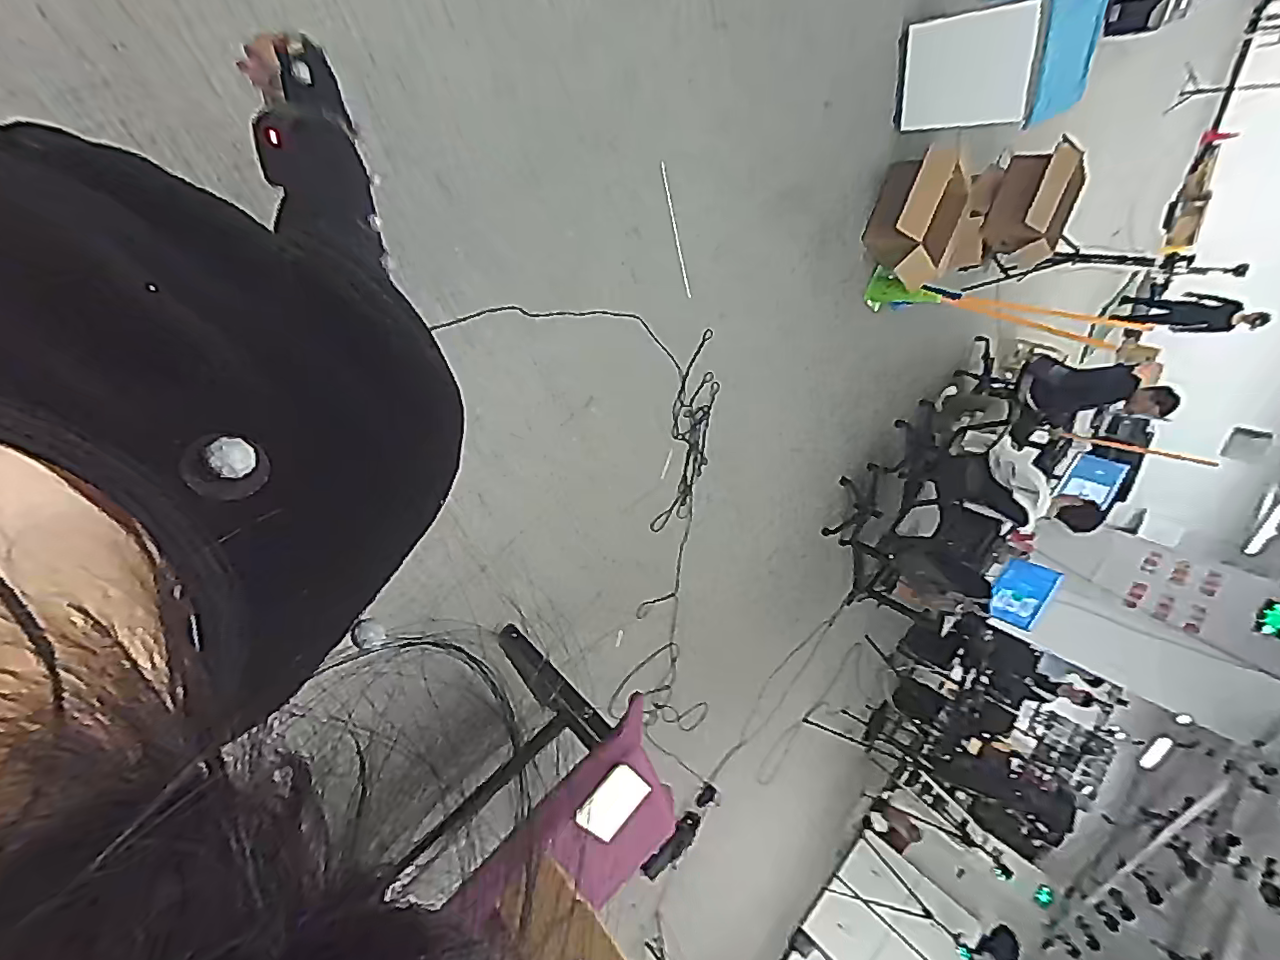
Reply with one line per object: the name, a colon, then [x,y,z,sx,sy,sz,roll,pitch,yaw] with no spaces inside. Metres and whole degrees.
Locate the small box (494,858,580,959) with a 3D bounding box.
small box: [-0.253,1.136,1.409,0.168,0.176,0.179,-37,134,-26]

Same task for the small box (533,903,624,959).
small box: [-0.141,1.181,1.298,0.179,0.176,0.168,-37,133,-26]
